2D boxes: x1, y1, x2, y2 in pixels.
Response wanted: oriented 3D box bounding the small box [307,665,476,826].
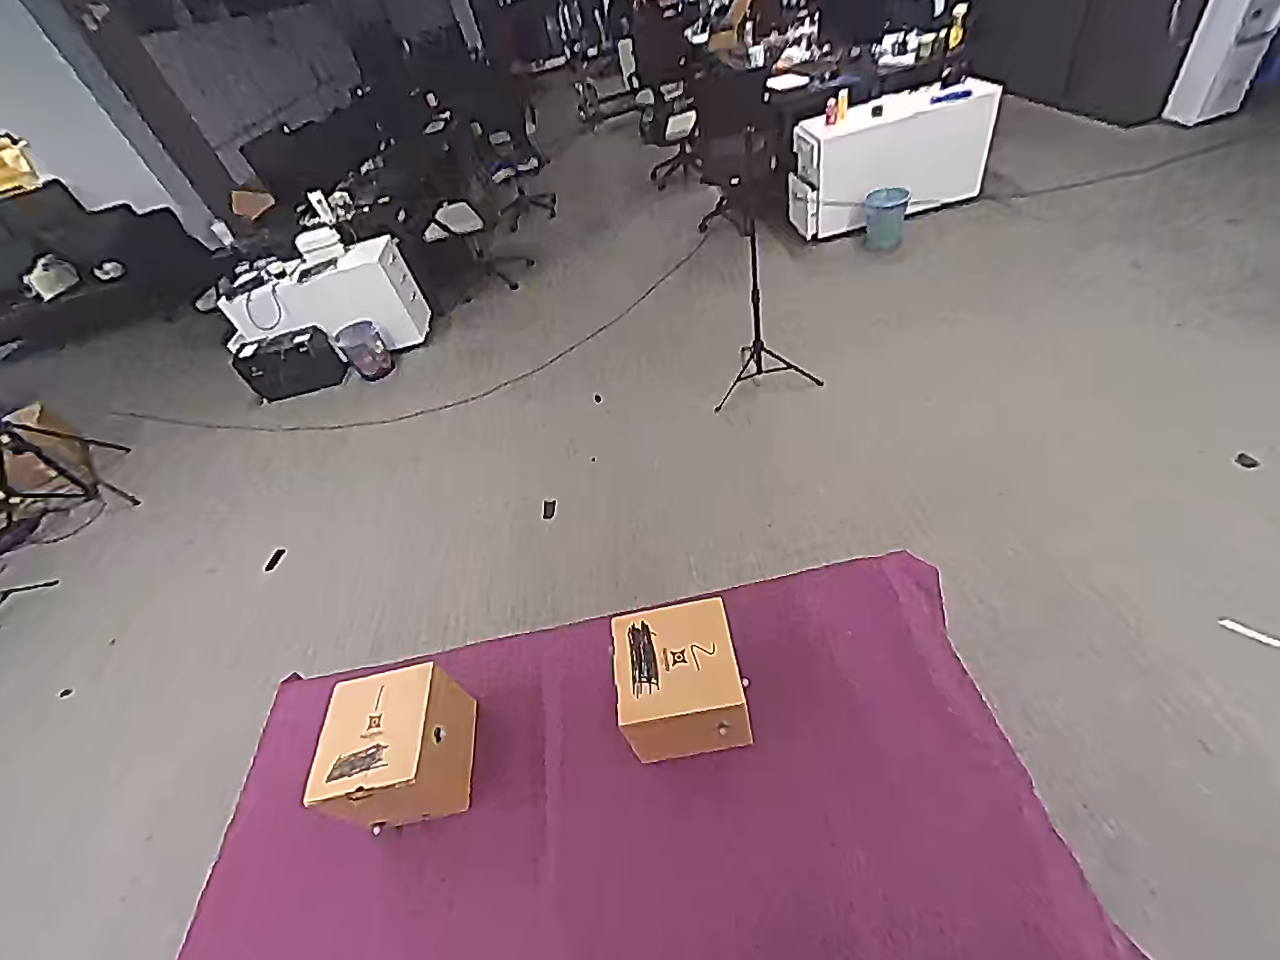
[{"bbox_3d":[-0.374,0.423,0.852,0.168,0.176,0.179,-14,44,3],"label":"small box"}]
